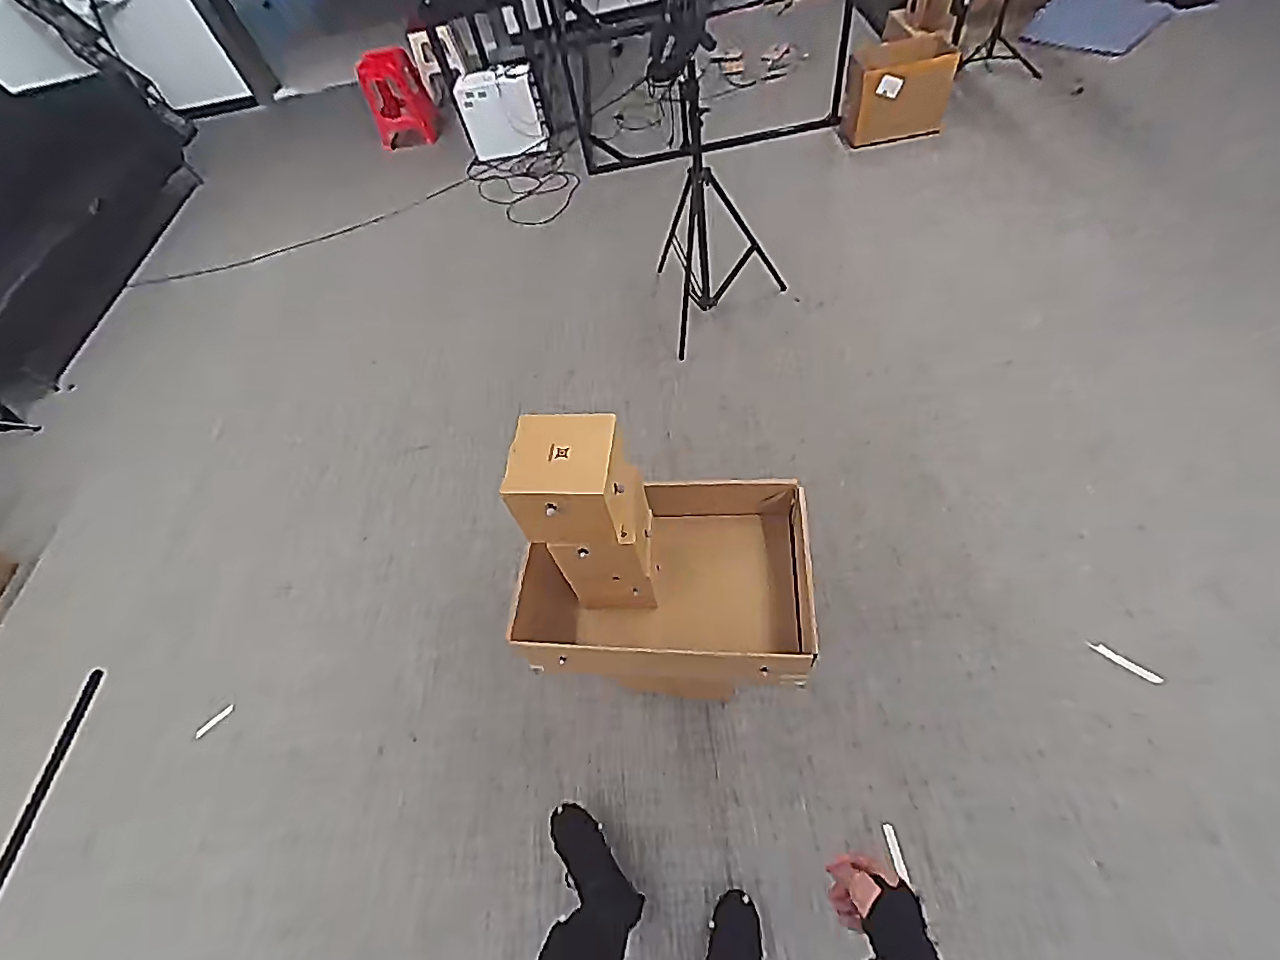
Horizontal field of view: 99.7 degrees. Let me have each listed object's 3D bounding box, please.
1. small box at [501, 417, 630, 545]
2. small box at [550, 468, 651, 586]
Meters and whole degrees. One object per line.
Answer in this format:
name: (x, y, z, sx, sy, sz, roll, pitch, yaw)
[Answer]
small box: (-0.118, 0.005, 0.953, 0.179, 0.176, 0.168, 0, 56, 9)
small box: (-0.071, 0.096, 1.083, 0.168, 0.176, 0.179, -3, 55, 8)
